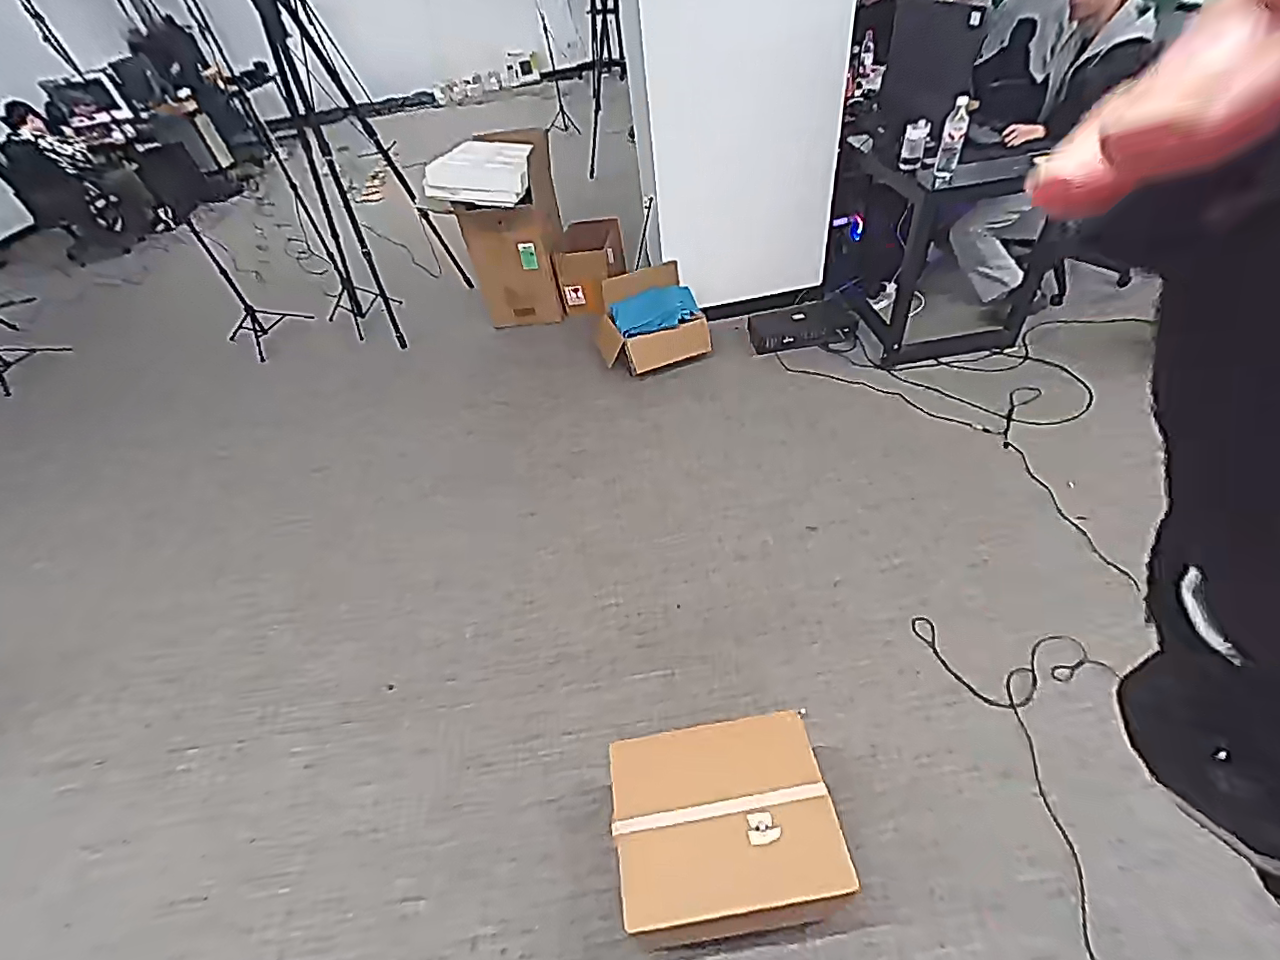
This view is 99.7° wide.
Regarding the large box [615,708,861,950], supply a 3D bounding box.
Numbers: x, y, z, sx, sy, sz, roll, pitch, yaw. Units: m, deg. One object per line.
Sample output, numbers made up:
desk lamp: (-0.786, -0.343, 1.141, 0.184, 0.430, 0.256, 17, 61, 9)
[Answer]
large box: (0.180, 0.726, 1.124, 0.408, 0.320, 0.320, -10, 45, -1)
